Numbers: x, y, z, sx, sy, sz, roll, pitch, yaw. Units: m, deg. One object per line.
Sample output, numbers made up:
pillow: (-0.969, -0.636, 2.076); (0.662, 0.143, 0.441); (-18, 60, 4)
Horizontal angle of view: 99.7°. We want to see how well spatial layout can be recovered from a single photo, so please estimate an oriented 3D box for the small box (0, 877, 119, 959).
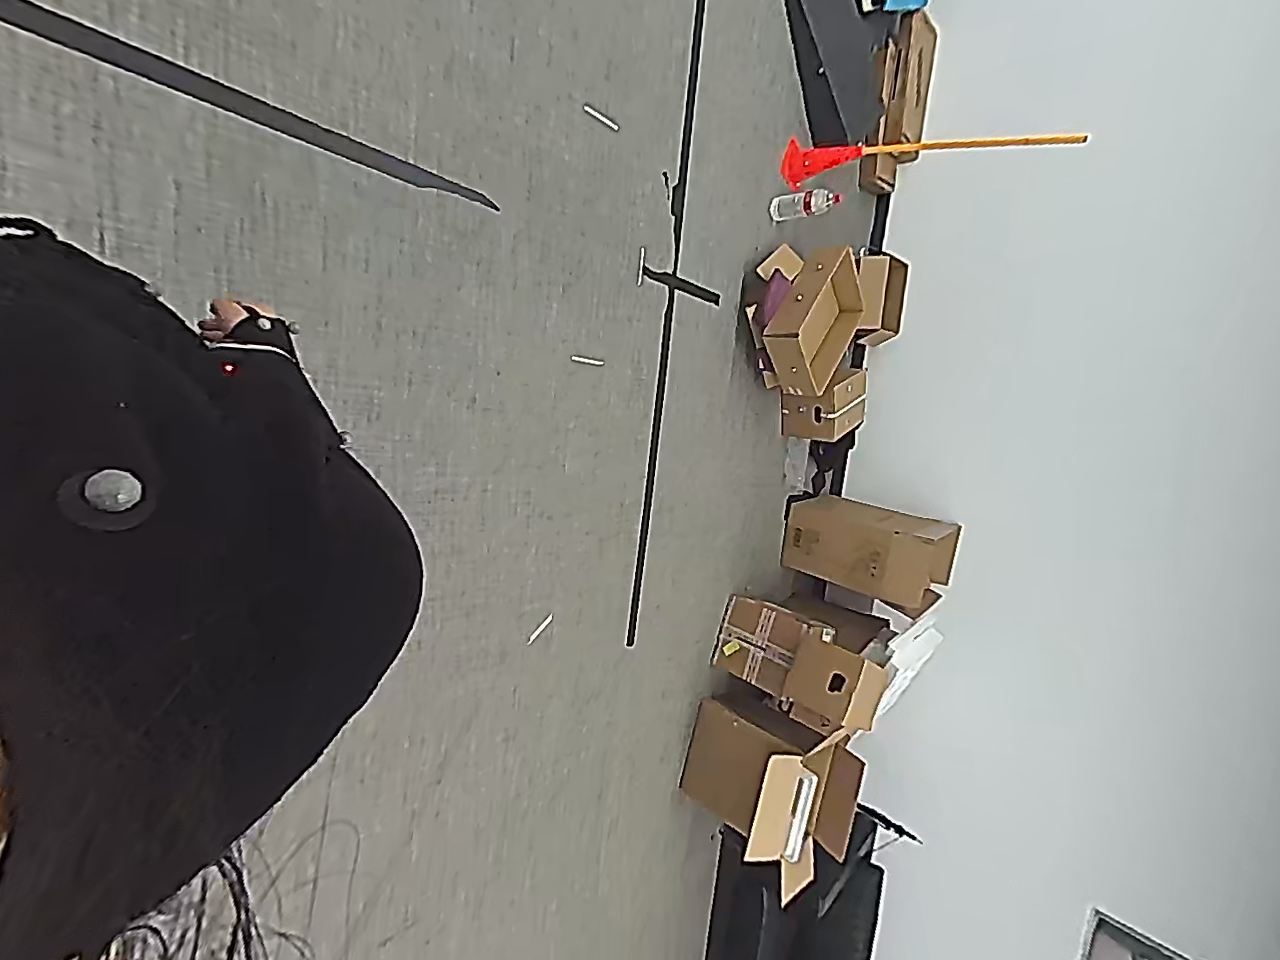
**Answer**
small box: (-1.176, 0.849, 1.078); (0.168, 0.176, 0.179); (-15, 111, -46)
